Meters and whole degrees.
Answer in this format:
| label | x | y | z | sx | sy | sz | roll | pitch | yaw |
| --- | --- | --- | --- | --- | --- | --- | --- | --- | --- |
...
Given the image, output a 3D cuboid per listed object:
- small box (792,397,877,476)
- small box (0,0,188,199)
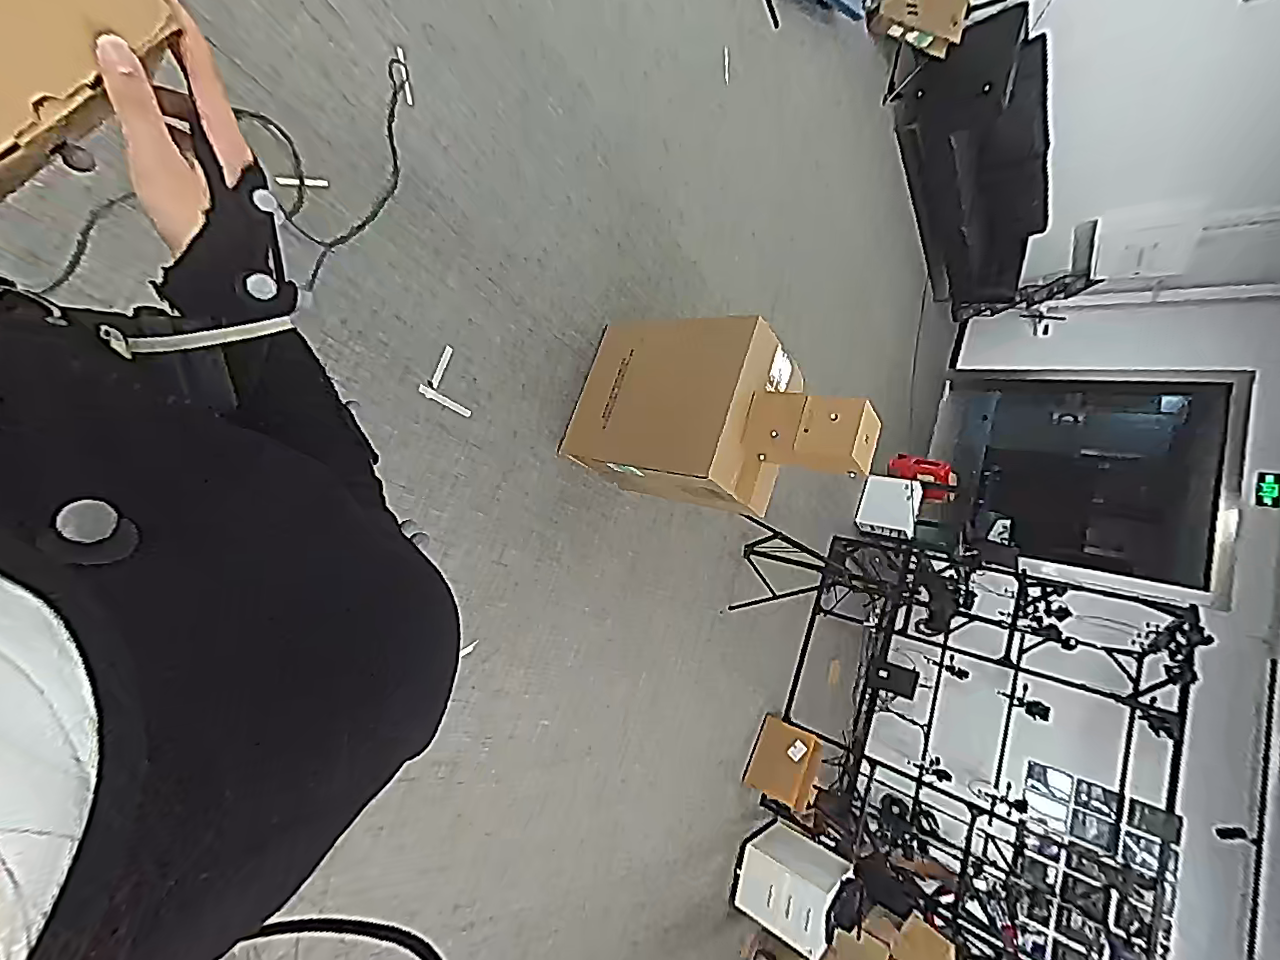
| label | x | y | z | sx | sy | sz | roll | pitch | yaw |
| --- | --- | --- | --- | --- | --- | --- | --- | --- | --- |
| small box | 0.545 | -0.124 | 1.517 | 0.179 | 0.176 | 0.168 | 30 | 75 | -51 |
| small box | -0.376 | -0.252 | 0.256 | 0.168 | 0.176 | 0.179 | -53 | 138 | -13 |
